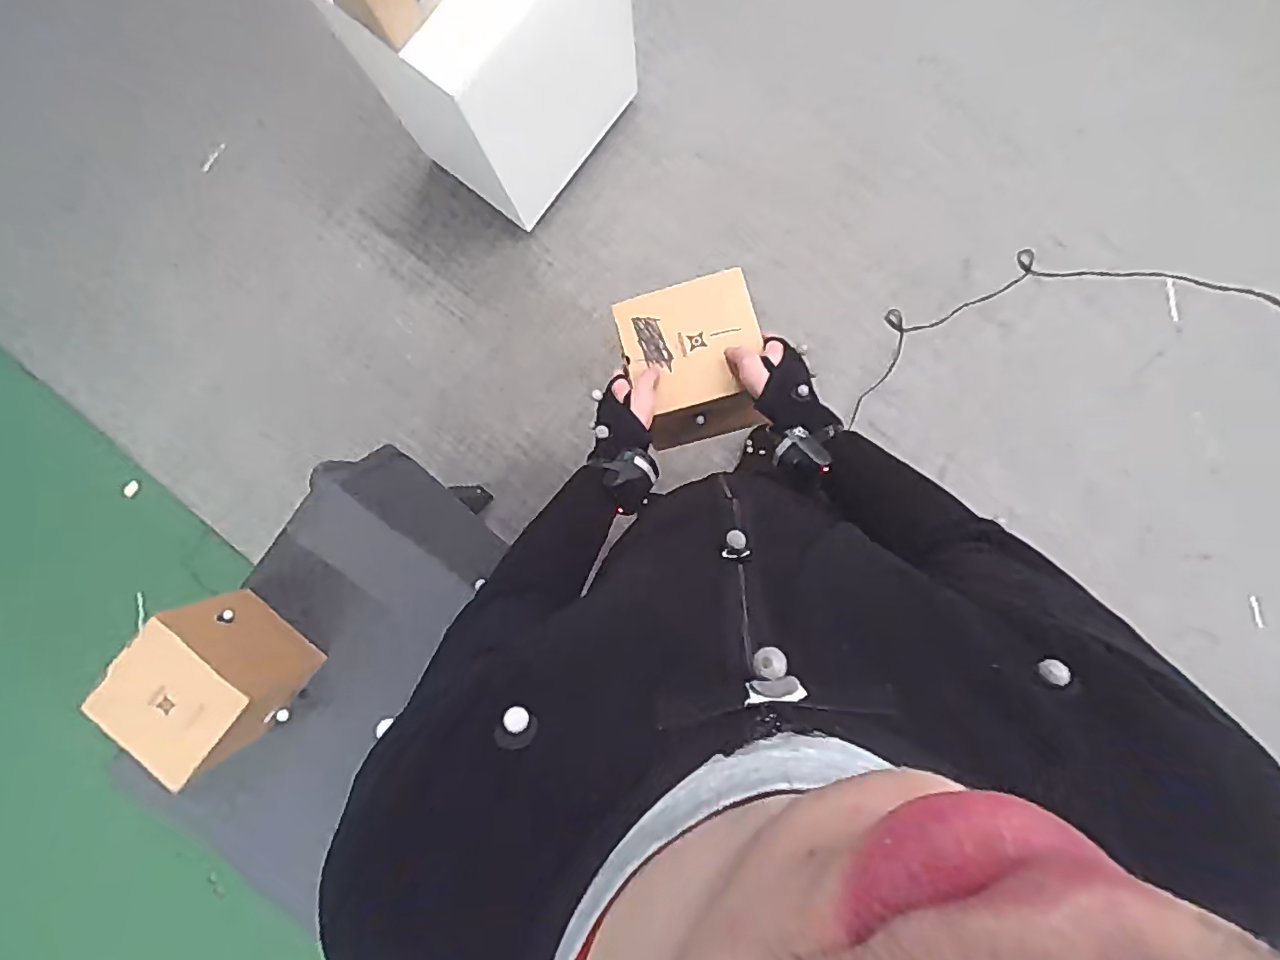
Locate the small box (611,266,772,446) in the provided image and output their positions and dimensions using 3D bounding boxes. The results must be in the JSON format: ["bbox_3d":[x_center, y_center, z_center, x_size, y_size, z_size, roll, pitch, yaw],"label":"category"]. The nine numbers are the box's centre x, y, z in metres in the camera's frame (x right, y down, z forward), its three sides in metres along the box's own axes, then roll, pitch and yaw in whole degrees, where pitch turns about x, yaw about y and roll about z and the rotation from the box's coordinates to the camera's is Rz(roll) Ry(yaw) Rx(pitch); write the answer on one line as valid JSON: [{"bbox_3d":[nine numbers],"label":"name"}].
[{"bbox_3d":[0.074,-0.159,0.751,0.179,0.176,0.168,-14,77,6],"label":"small box"}]

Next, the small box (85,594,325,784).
[{"bbox_3d":[-0.619,0.287,0.793,0.179,0.176,0.168,39,93,1],"label":"small box"}]

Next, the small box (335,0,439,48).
[{"bbox_3d":[-0.456,-0.903,0.913,0.168,0.176,0.179,40,91,3],"label":"small box"}]
